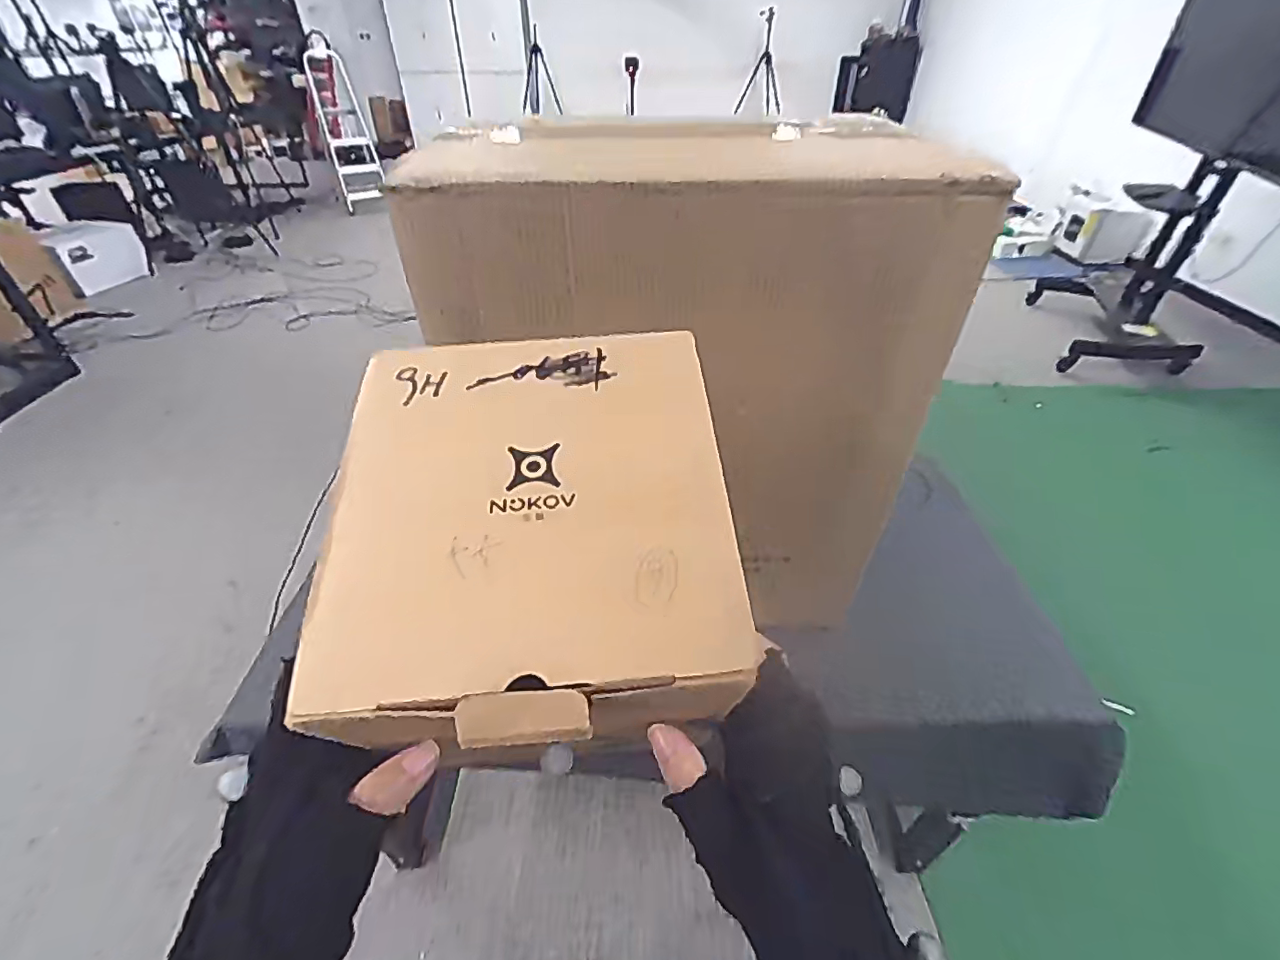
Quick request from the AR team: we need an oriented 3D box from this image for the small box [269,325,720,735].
[{"bbox_3d":[-0.054,0.040,0.302,0.168,0.176,0.179,-3,59,-2],"label":"small box"}]
